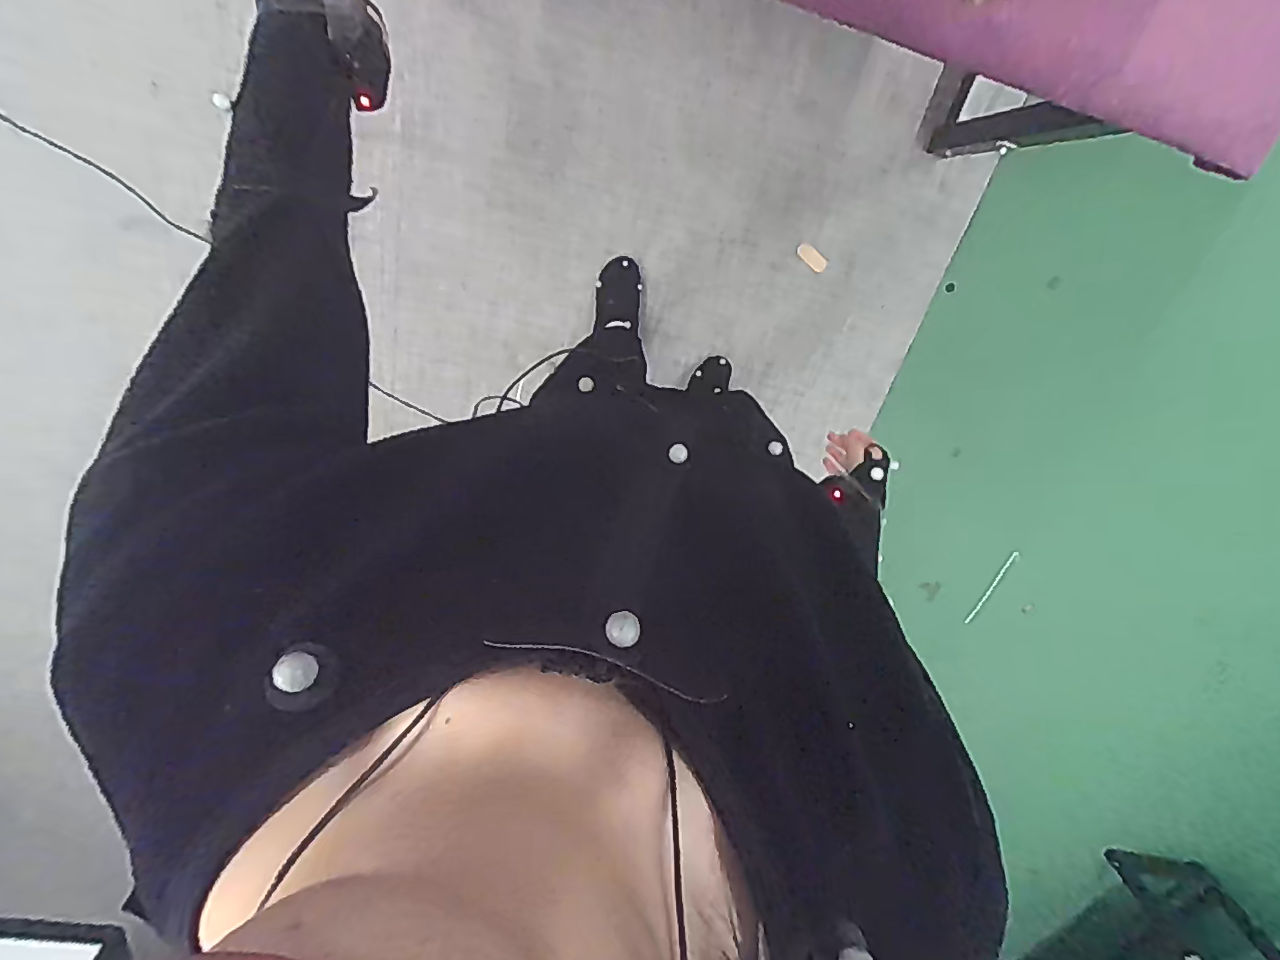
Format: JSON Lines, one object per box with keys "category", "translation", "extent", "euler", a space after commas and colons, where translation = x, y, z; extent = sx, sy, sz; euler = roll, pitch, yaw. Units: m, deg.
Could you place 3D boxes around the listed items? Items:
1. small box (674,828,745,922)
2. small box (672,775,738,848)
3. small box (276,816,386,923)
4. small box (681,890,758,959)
{"category": "small box", "translation": [0.194, 1.143, 1.570], "extent": [0.168, 0.176, 0.179], "euler": [4, 116, -3]}
{"category": "small box", "translation": [0.201, 1.066, 1.715], "extent": [0.179, 0.176, 0.168], "euler": [2, 115, -2]}
{"category": "small box", "translation": [-0.856, 1.088, 1.517], "extent": [0.168, 0.176, 0.179], "euler": [-41, 109, 17]}
{"category": "small box", "translation": [0.202, 1.218, 1.425], "extent": [0.168, 0.176, 0.179], "euler": [3, 115, -2]}
